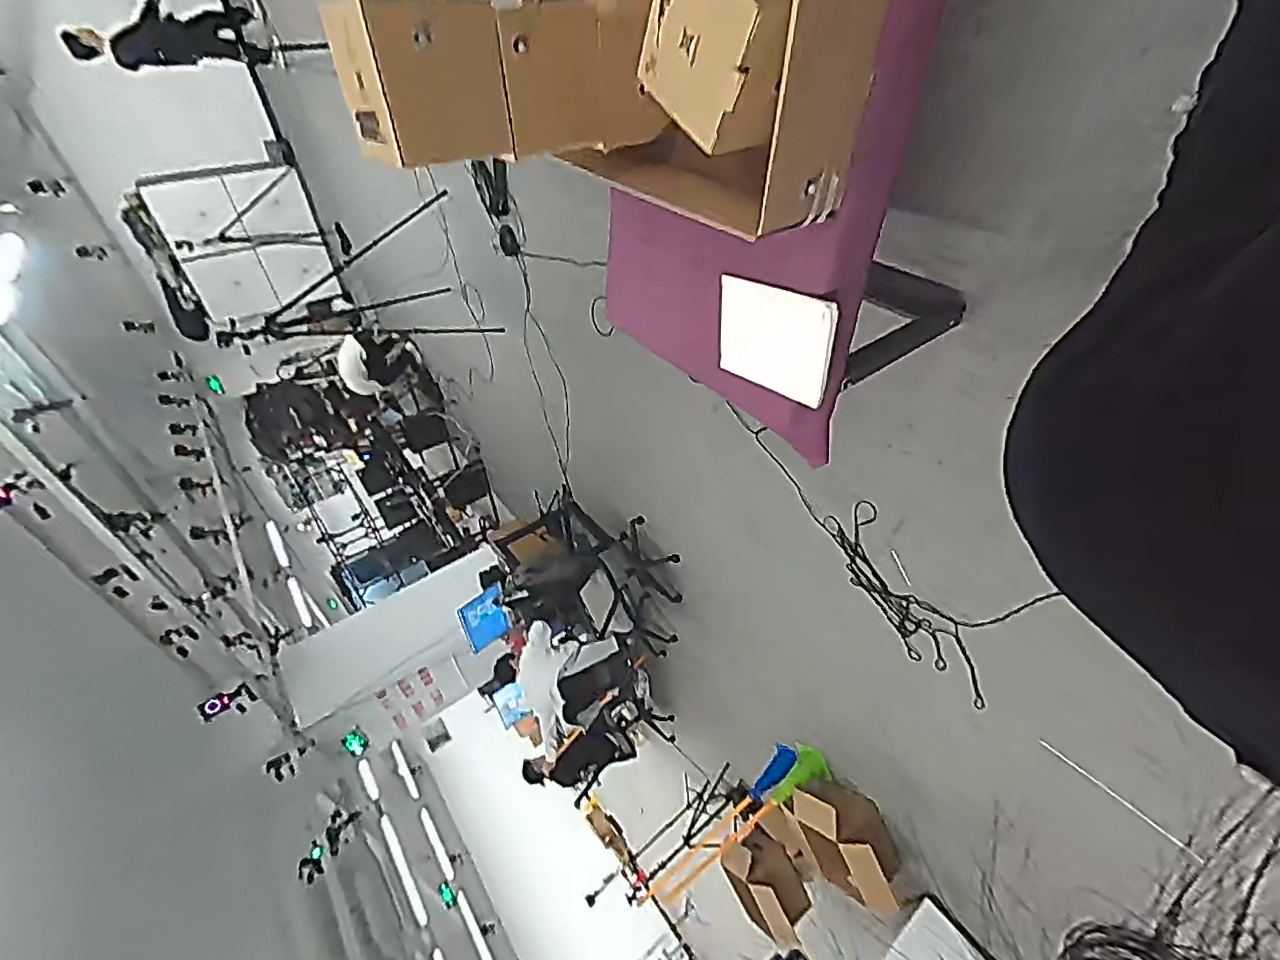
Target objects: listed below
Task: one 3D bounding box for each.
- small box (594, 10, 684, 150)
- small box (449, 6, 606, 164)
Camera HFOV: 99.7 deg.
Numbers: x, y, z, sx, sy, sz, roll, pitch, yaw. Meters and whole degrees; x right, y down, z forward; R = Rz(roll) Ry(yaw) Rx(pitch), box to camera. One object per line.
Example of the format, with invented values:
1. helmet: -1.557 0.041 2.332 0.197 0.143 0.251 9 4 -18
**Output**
1. small box: -0.042 -0.684 0.918 0.179 0.176 0.168 40 146 34
2. small box: -0.165 -0.615 0.838 0.168 0.176 0.179 38 145 36
